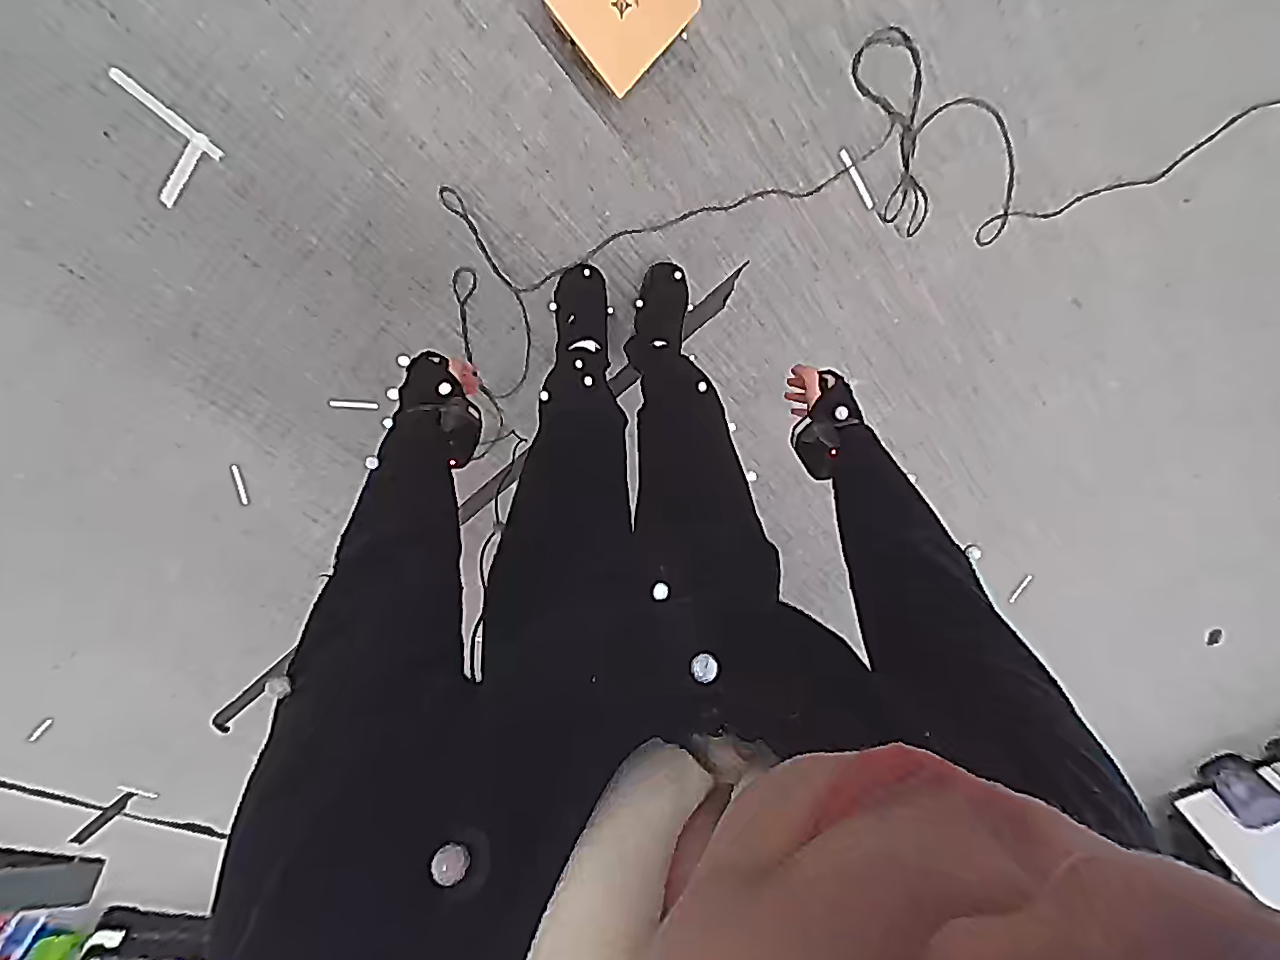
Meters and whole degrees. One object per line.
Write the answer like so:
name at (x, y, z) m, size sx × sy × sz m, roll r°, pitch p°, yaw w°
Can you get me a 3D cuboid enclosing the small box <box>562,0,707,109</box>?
small box at (-0.010, -0.731, 0.821) m, size 0.179 × 0.176 × 0.168 m, roll 41°, pitch 93°, yaw -10°
